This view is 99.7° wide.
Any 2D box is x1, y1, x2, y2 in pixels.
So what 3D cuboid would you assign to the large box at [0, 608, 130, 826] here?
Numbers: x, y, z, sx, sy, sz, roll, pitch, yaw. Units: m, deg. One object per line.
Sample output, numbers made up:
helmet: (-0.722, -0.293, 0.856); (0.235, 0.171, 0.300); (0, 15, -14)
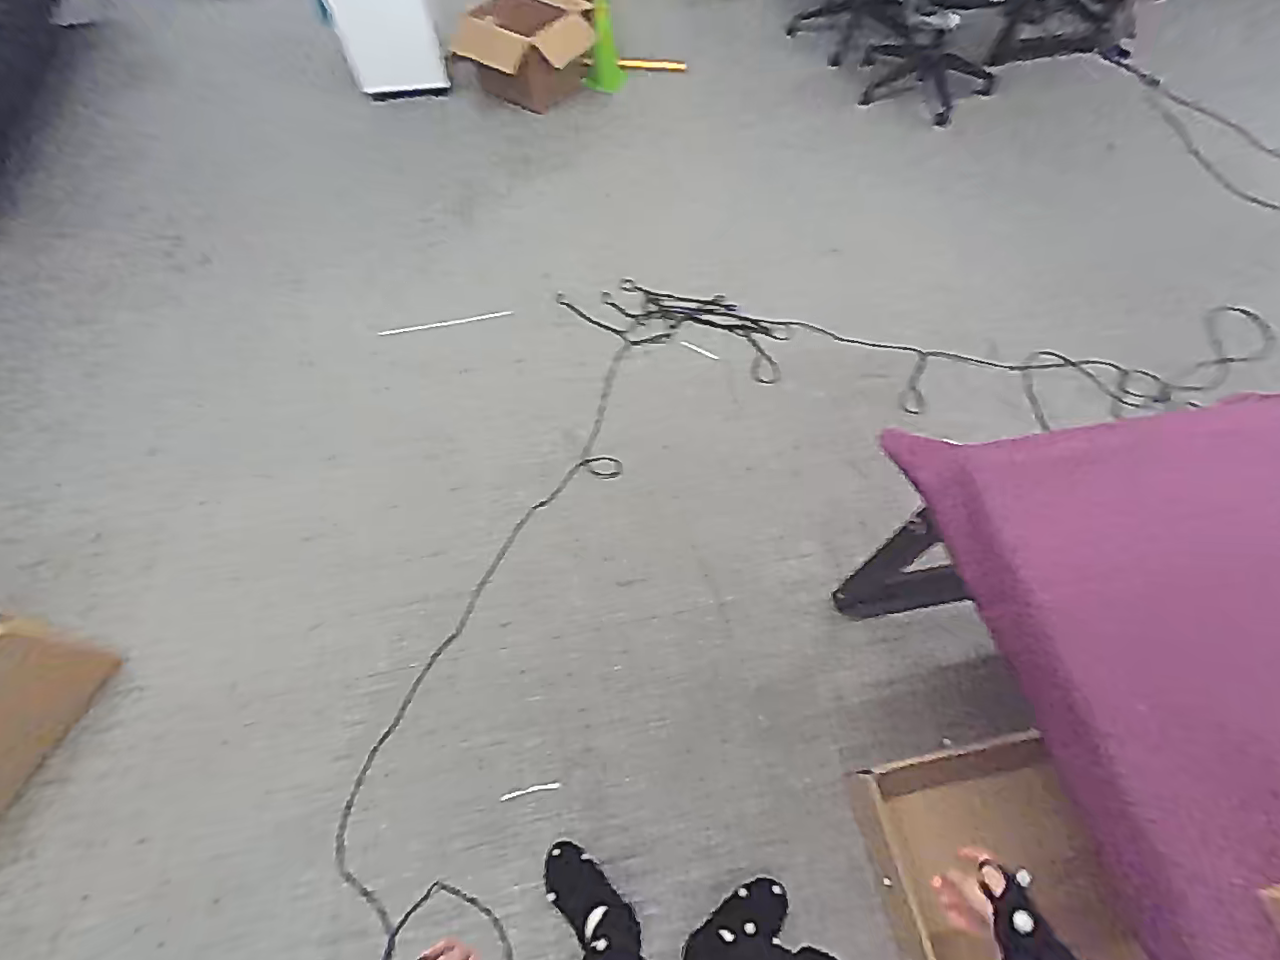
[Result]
large box: (-1.540, 0.519, 1.228); (0.320, 0.320, 0.408); (16, 61, 10)
